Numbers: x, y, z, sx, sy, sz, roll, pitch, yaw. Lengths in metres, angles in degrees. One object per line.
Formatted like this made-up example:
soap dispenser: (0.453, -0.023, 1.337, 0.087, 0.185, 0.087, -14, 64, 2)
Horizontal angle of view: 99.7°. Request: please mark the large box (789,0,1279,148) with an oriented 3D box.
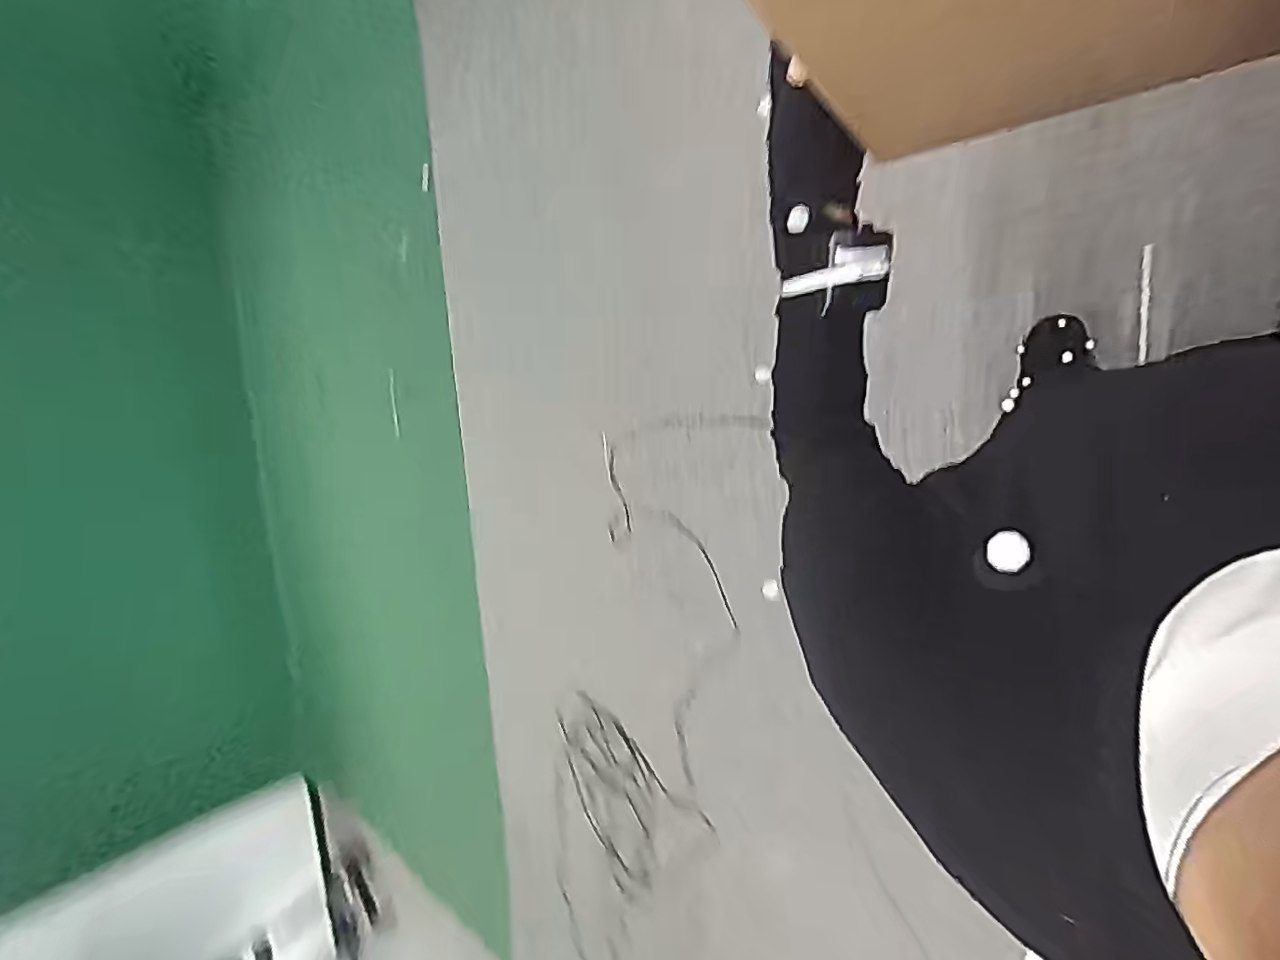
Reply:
large box: (0.248, -0.373, 0.162, 0.408, 0.320, 0.320, 2, 101, 35)
